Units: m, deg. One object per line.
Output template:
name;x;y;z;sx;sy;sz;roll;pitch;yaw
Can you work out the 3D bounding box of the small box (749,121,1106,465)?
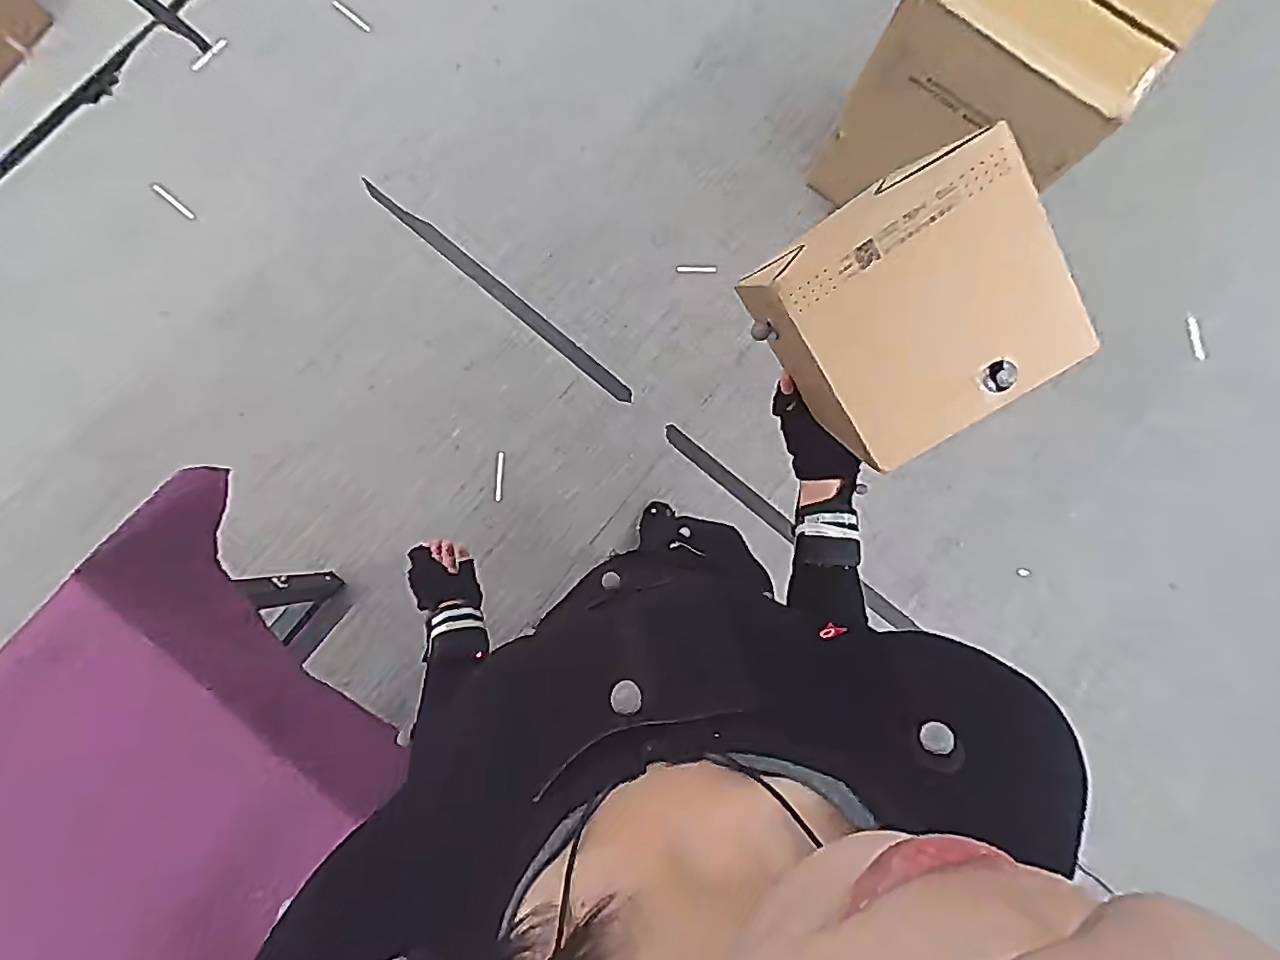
small box;0.206;-0.145;0.436;0.168;0.179;0.176;-33;106;13
